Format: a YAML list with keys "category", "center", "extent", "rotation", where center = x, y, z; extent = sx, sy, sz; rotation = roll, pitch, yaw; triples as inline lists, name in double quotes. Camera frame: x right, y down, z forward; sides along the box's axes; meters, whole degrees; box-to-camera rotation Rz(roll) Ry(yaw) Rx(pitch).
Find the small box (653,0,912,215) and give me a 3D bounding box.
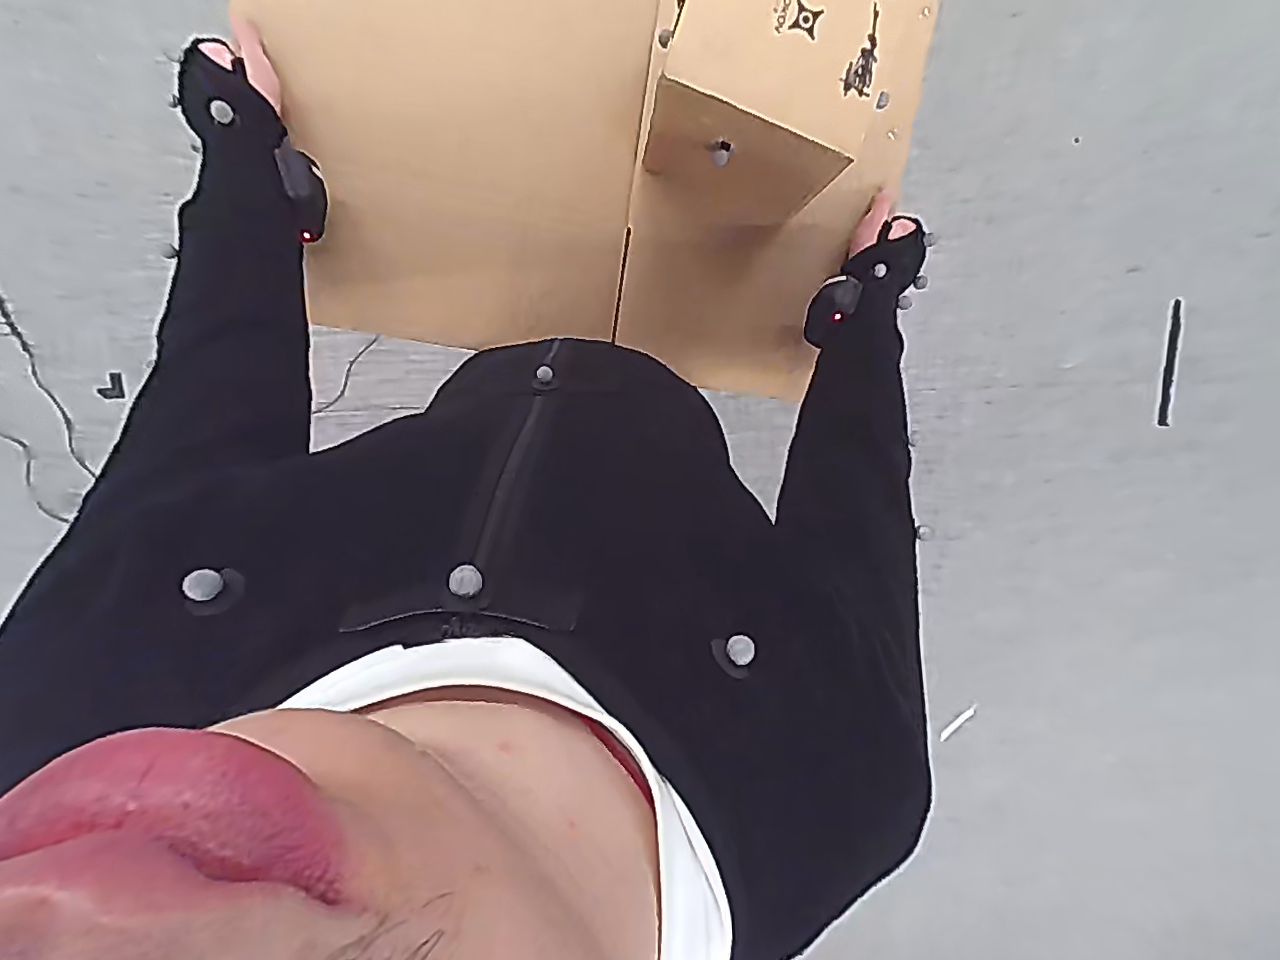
- category: "small box"
  center: [0.119, -0.383, 0.516]
  extent: [0.179, 0.176, 0.168]
  rotation: [18, 97, -6]
